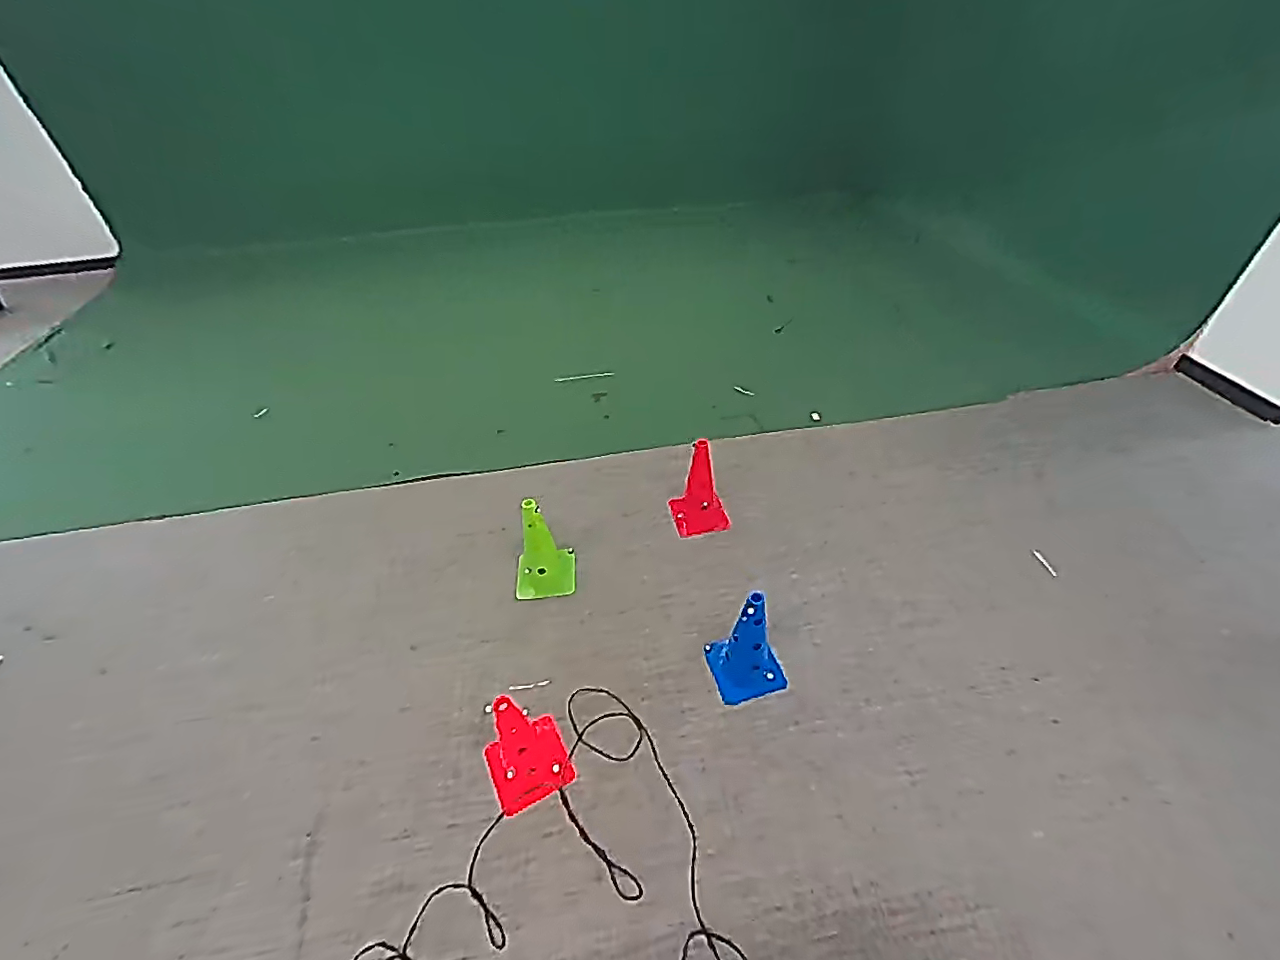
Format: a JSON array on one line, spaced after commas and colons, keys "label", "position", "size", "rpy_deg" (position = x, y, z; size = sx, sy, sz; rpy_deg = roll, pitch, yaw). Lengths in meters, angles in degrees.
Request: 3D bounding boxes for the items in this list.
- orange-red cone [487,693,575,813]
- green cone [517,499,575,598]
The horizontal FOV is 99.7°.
[{"label": "orange-red cone", "position": [-0.297, 0.620, 1.319], "size": [0.198, 0.360, 0.199], "rpy_deg": [-21, 44, -19]}, {"label": "green cone", "position": [-0.336, 0.196, 1.772], "size": [0.200, 0.368, 0.202], "rpy_deg": [-7, 44, -3]}]
